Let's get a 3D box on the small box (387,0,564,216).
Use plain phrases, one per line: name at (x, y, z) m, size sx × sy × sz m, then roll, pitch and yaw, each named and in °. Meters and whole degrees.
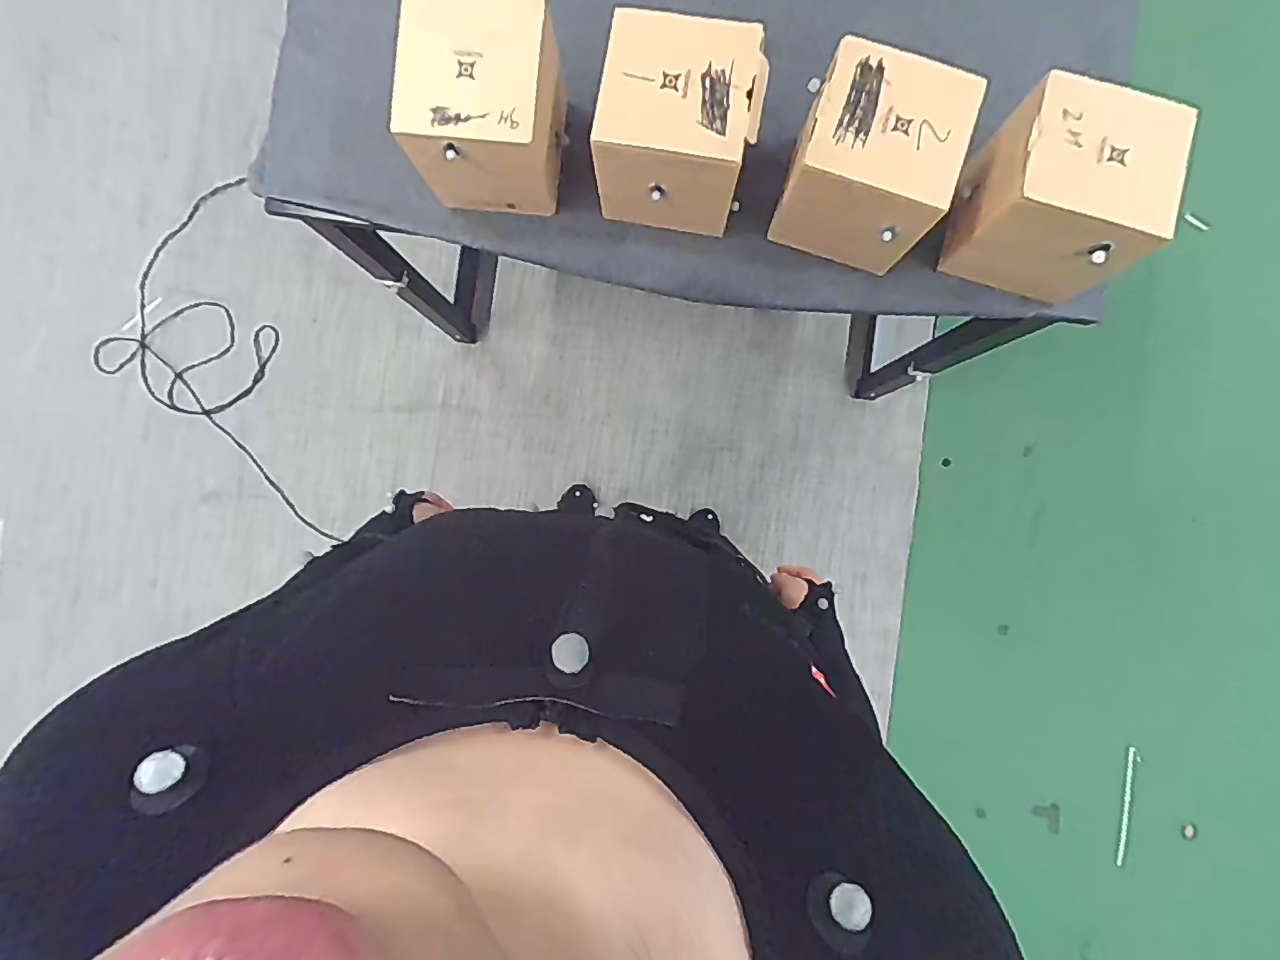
small box at (-0.196, -0.474, 0.695) m, size 0.168 × 0.176 × 0.179 m, roll 6°, pitch 89°, yaw 2°
